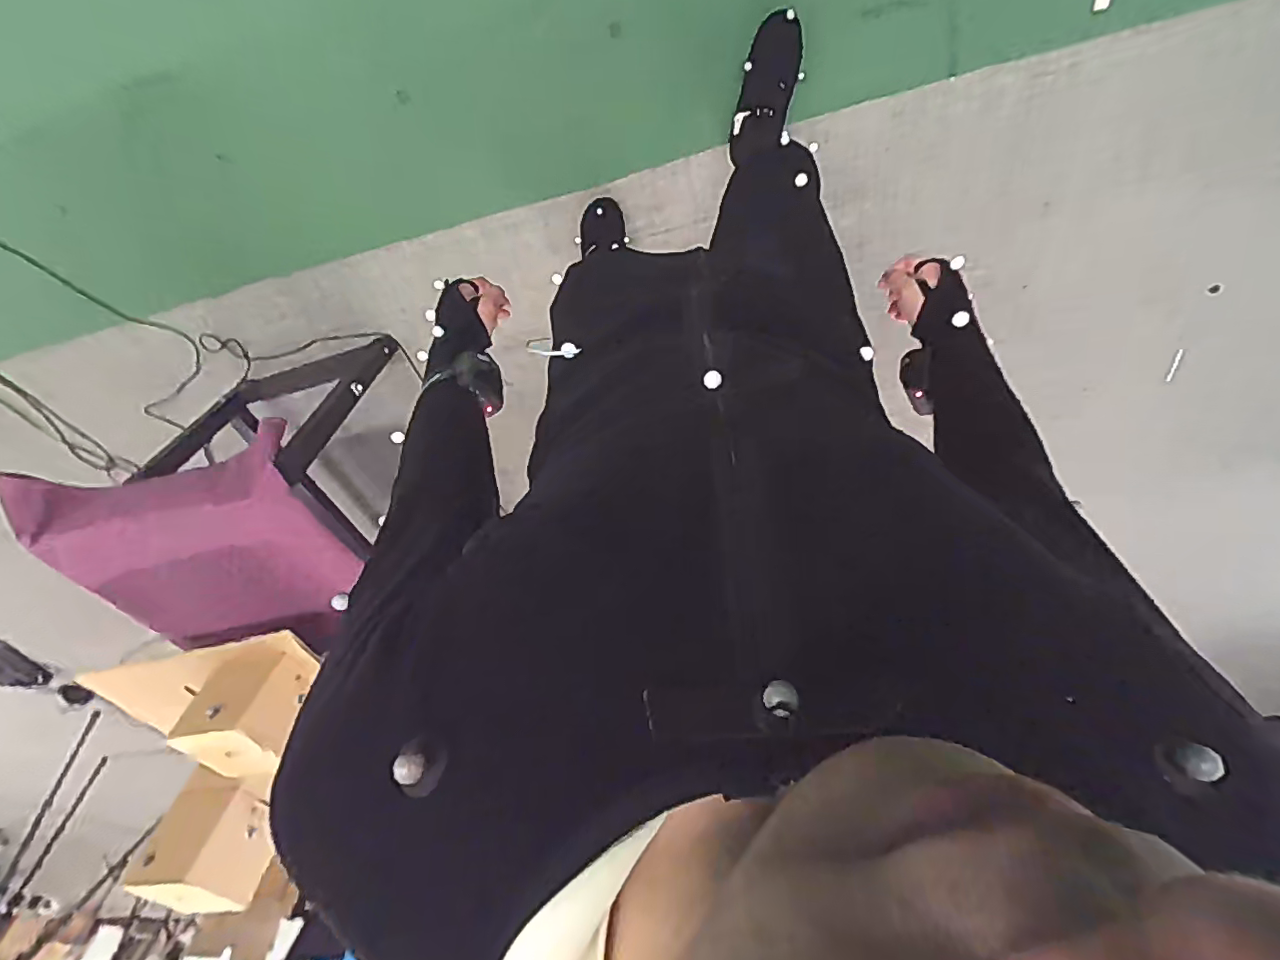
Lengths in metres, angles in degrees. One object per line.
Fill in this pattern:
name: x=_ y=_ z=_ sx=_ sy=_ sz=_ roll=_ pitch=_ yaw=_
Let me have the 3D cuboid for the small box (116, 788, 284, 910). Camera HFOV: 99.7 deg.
small box: x=-0.908 y=0.772 z=1.136 sx=0.179 sy=0.176 sz=0.168 roll=-13 pitch=126 yaw=13

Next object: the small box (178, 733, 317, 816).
small box: x=-0.897 y=0.669 z=1.263 sx=0.179 sy=0.176 sz=0.168 roll=-12 pitch=126 yaw=14

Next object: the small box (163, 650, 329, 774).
small box: x=-0.786 y=0.470 z=1.101 sx=0.179 sy=0.176 sz=0.168 roll=-13 pitch=127 yaw=12
